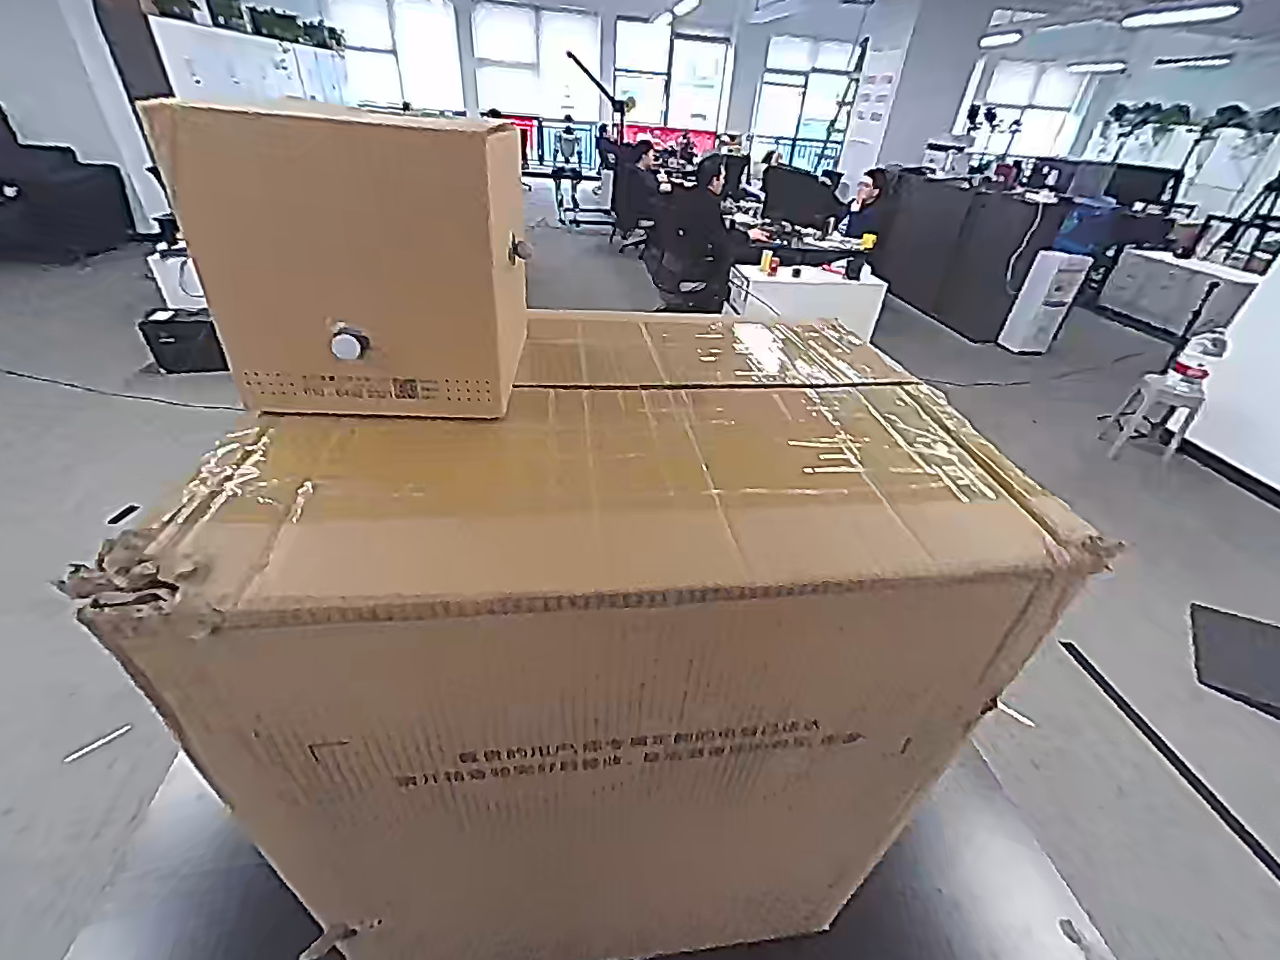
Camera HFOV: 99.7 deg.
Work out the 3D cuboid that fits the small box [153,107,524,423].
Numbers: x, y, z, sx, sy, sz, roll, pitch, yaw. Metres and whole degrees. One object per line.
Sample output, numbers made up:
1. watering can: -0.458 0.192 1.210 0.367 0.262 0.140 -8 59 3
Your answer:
1. small box: -0.175 -0.156 0.388 0.168 0.176 0.179 0 35 -6
